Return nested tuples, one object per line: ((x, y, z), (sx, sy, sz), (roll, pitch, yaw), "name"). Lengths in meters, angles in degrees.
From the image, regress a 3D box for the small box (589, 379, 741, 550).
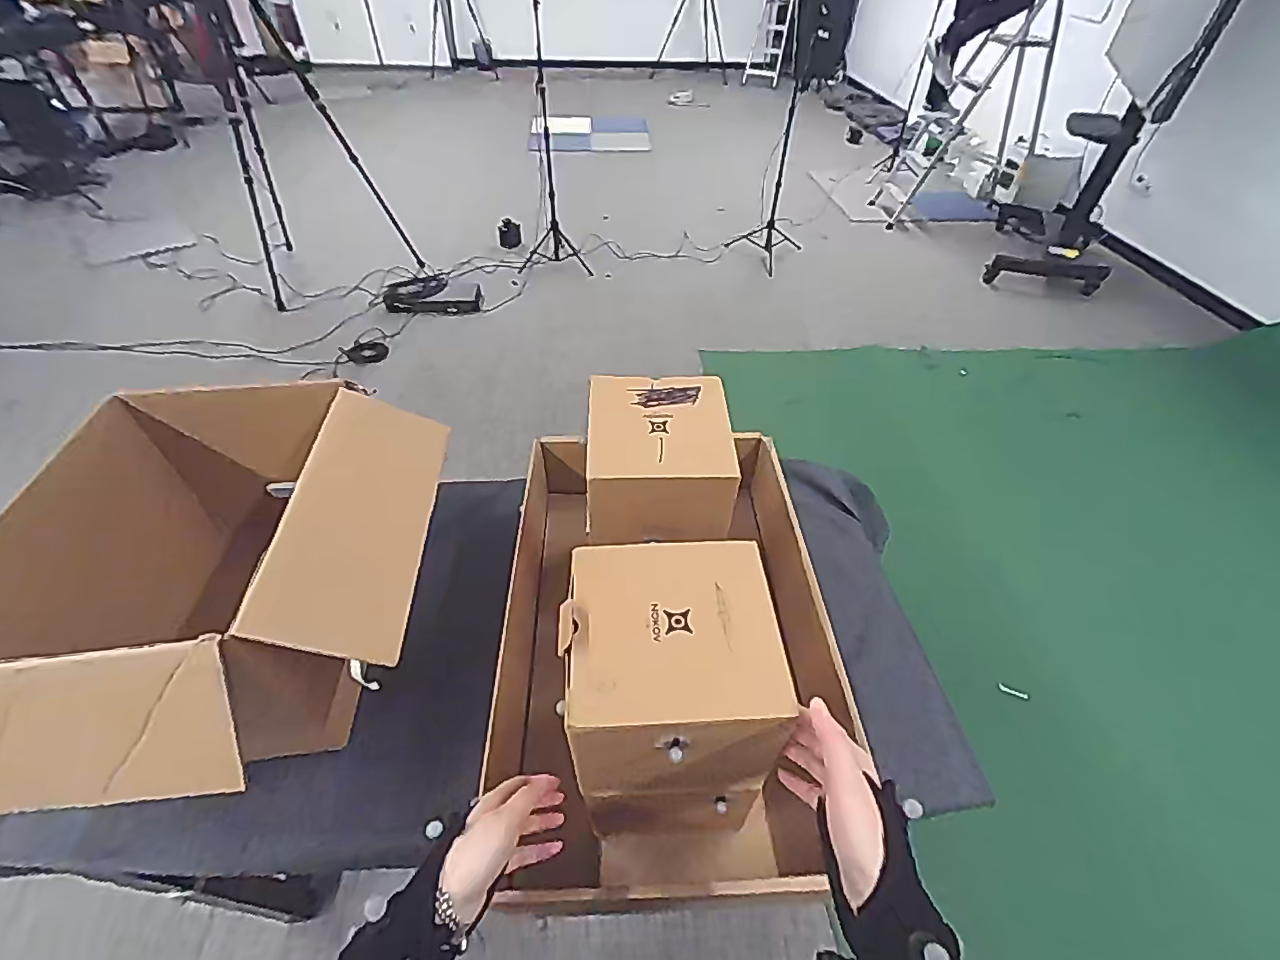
((0.023, -0.008, 0.688), (0.168, 0.176, 0.179), (0, 49, -2), "small box")

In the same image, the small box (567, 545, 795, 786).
((0.027, 0.179, 0.517), (0.179, 0.176, 0.168), (-1, 47, -3), "small box")
